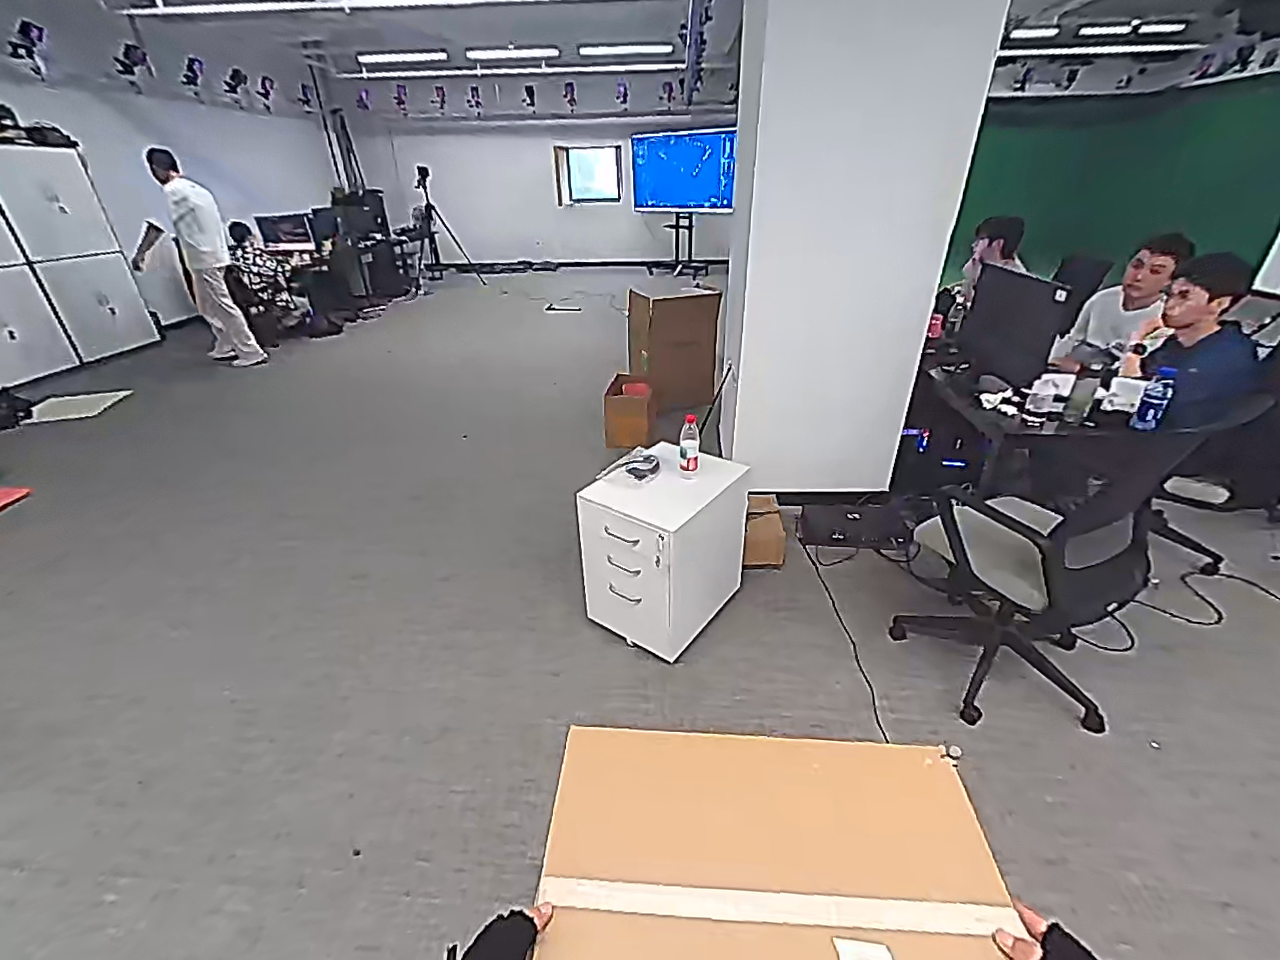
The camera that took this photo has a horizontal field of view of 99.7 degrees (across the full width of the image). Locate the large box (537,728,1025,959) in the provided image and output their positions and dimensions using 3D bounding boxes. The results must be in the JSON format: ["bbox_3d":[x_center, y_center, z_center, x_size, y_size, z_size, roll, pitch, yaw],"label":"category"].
[{"bbox_3d":[0.116,0.493,0.553,0.408,0.320,0.320,2,34,4],"label":"large box"}]
